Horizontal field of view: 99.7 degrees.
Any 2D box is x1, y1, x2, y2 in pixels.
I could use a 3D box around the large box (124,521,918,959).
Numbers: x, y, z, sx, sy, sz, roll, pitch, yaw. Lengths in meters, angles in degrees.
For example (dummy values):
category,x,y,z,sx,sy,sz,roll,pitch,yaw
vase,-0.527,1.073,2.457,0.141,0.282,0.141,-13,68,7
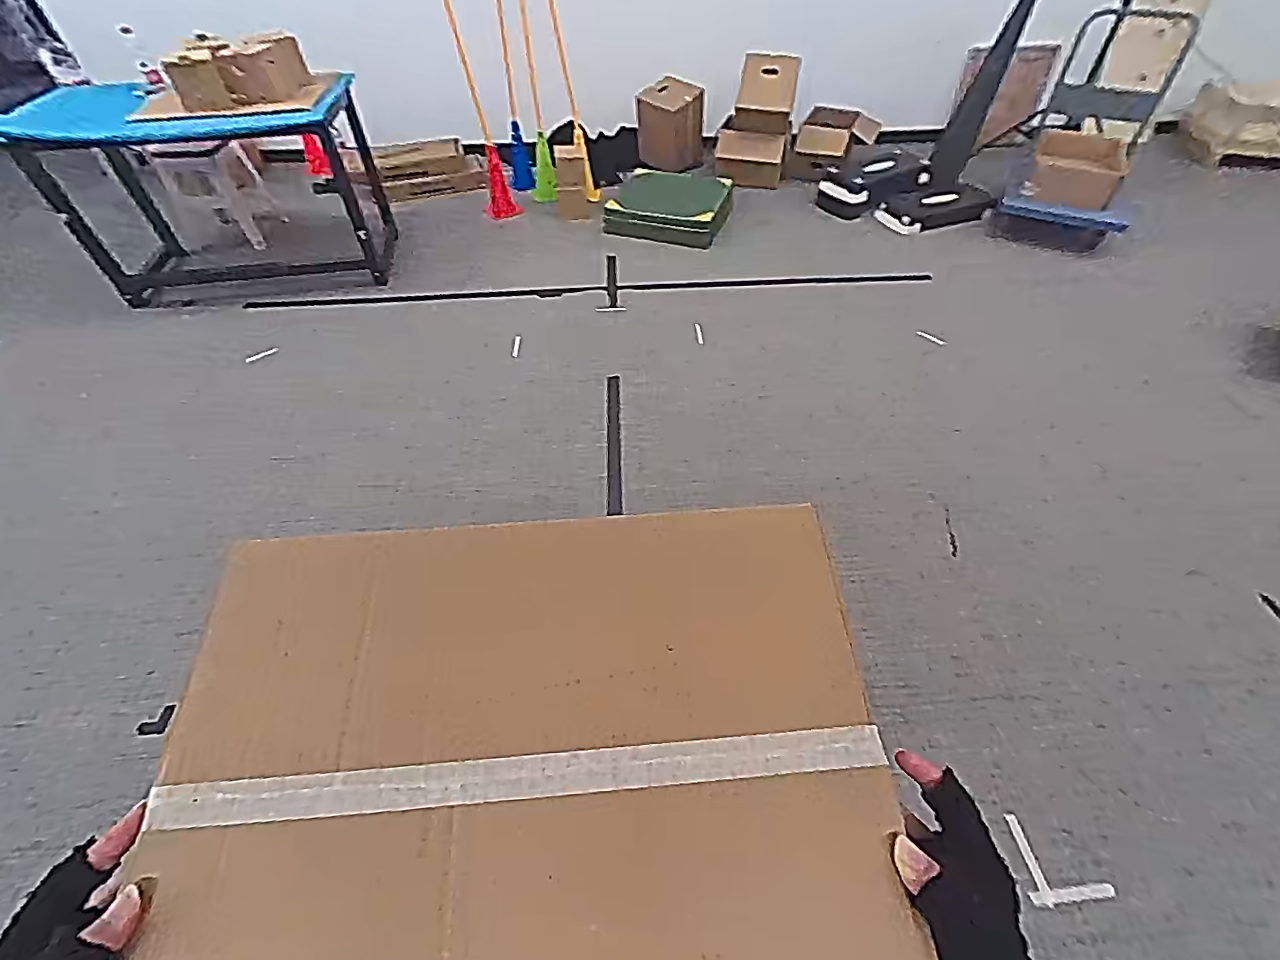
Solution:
category,x,y,z,sx,sy,sz,roll,pitch,yaw
large box,-0.062,0.248,0.439,0.408,0.320,0.320,-3,60,-2
